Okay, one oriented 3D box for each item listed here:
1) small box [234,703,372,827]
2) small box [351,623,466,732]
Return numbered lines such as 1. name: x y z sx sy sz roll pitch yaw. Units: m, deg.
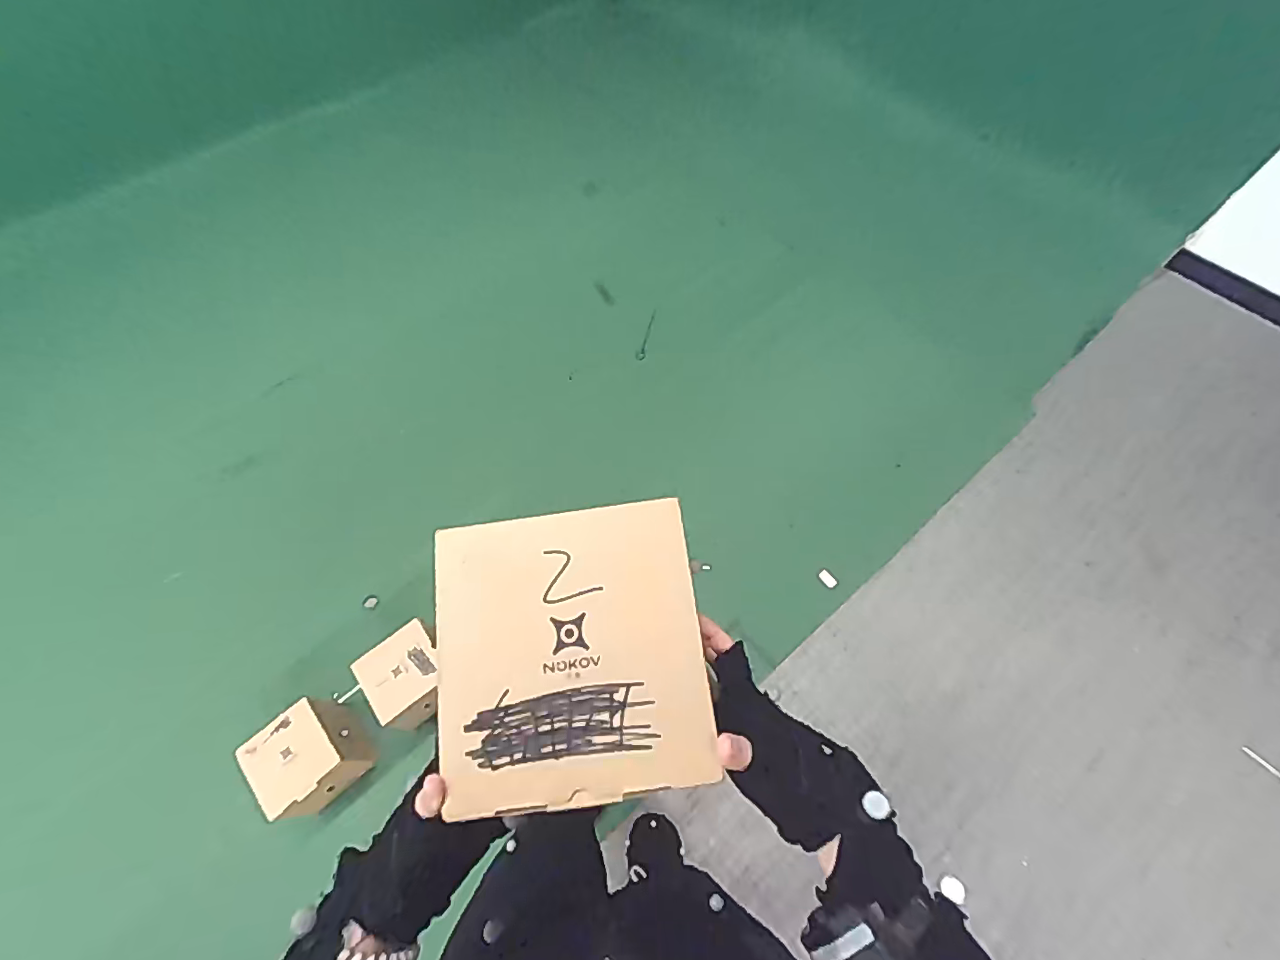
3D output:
1. small box: -0.738 0.625 1.204 0.168 0.176 0.179 -39 70 -17
2. small box: -0.534 0.470 1.278 0.179 0.176 0.168 -36 68 -15
